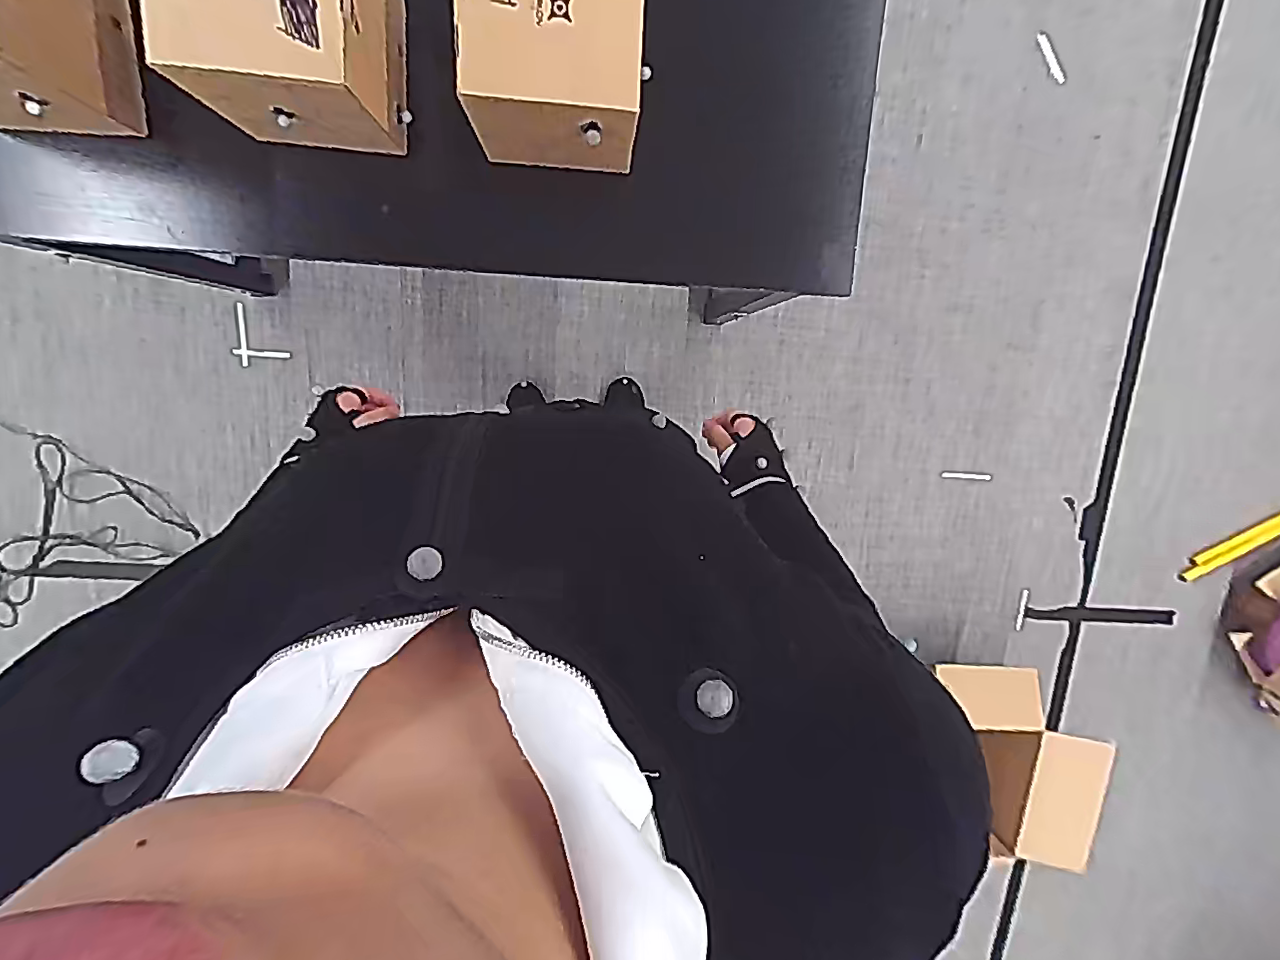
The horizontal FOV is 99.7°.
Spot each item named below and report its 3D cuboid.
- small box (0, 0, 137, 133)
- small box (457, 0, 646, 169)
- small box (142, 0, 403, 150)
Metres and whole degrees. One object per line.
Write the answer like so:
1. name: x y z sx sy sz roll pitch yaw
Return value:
1. small box: -0.653 -0.469 0.534 0.179 0.176 0.168 0 101 -4
2. small box: -0.090 -0.457 0.583 0.179 0.176 0.168 2 101 -5
3. small box: -0.358 -0.466 0.558 0.179 0.176 0.168 3 101 -4
